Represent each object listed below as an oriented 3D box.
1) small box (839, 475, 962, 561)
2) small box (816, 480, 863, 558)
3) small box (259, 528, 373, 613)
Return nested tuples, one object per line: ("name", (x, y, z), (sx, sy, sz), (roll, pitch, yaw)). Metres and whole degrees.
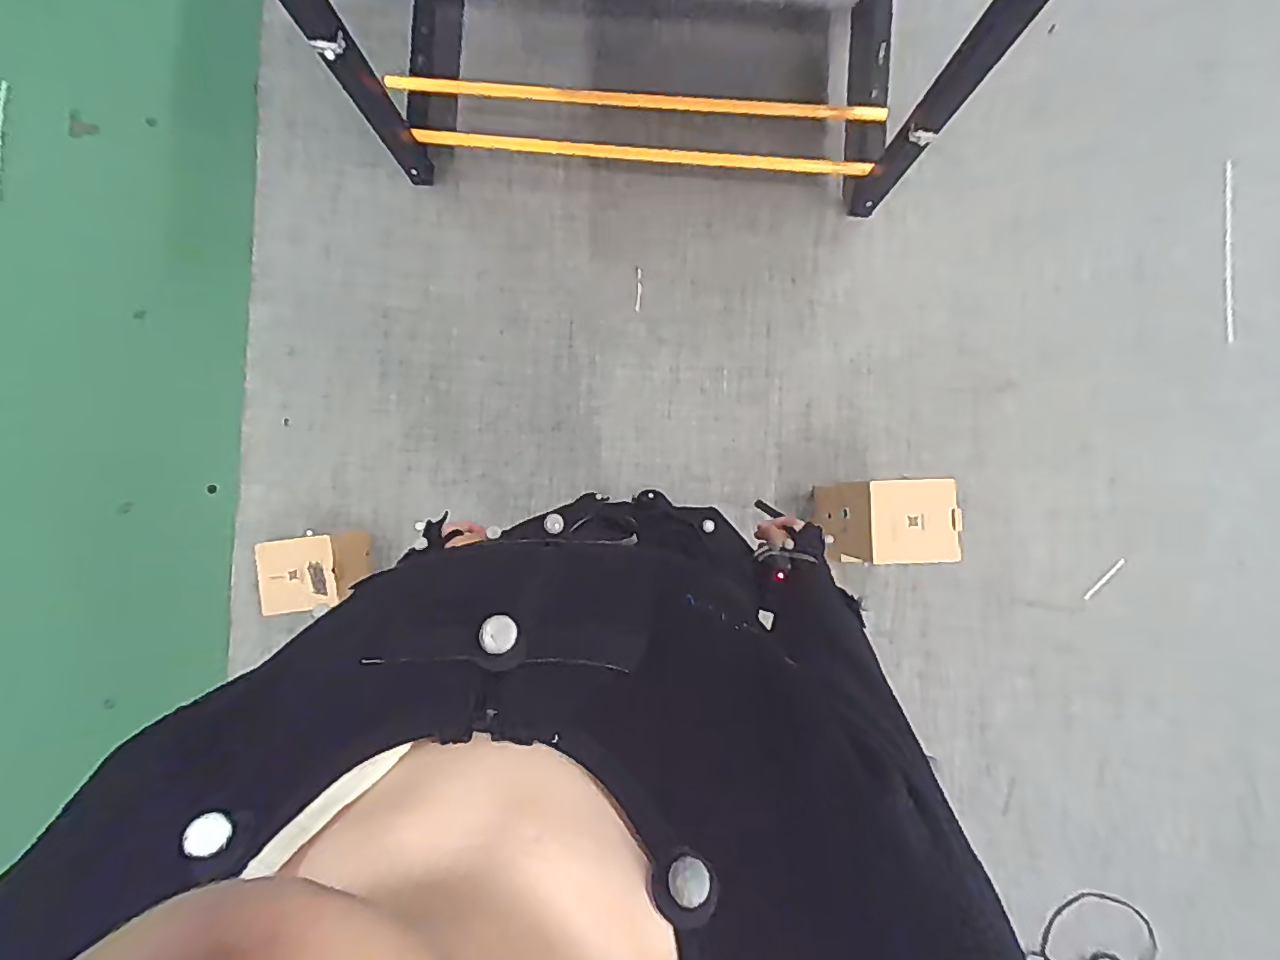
("small box", (0.537, 0.075, 1.132), (0.179, 0.176, 0.168), (-3, 88, 0))
("small box", (0.530, 0.090, 1.295), (0.168, 0.176, 0.179), (-2, 88, 0))
("small box", (-0.758, 0.208, 1.286), (0.179, 0.176, 0.168), (-7, 89, 1))
